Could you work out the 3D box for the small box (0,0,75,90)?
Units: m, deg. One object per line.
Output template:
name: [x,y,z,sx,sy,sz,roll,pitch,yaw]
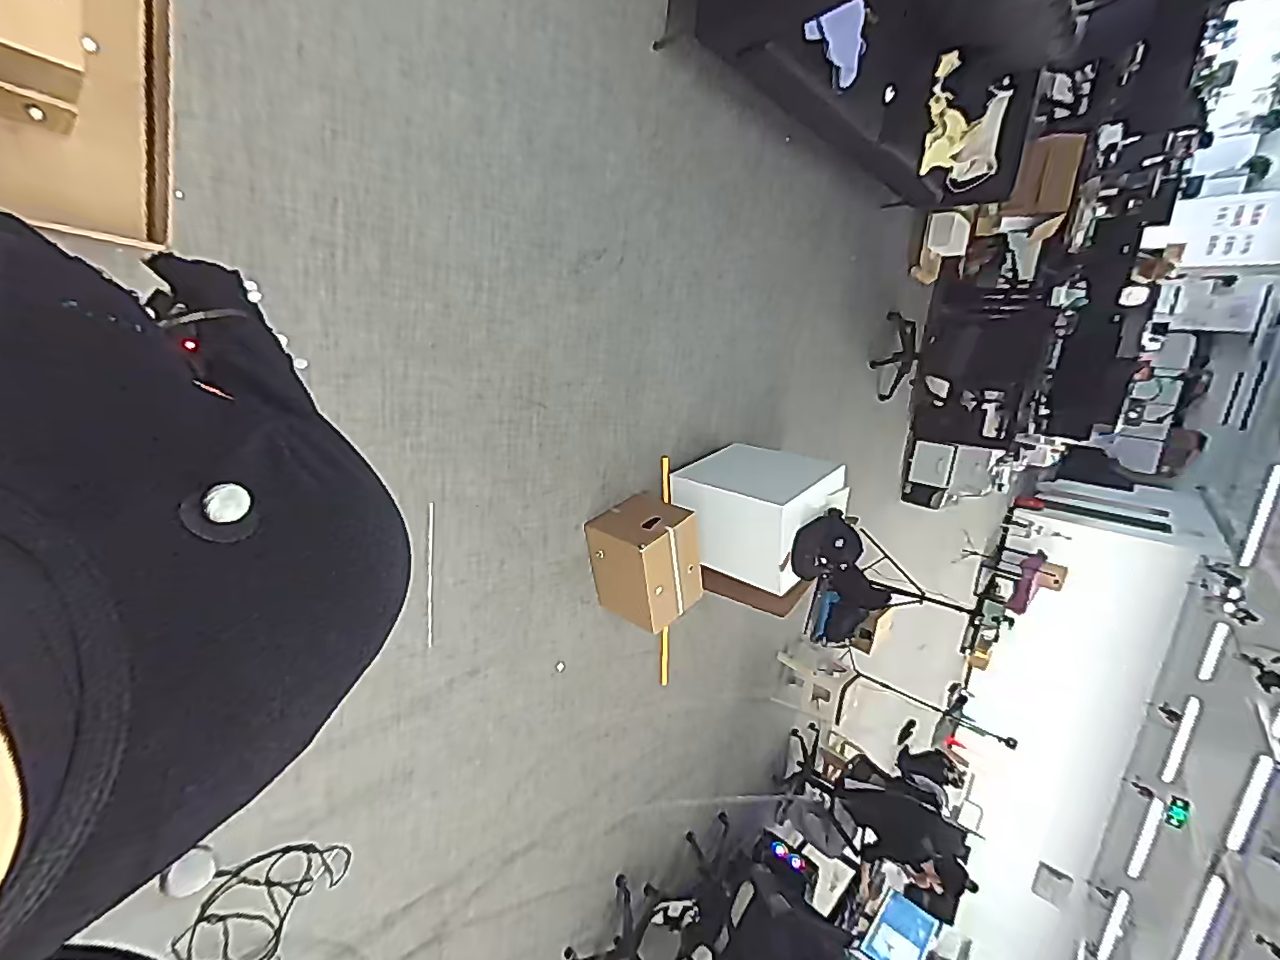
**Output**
small box: [-0.854,-0.640,0.689,0.179,0.176,0.168,-5,105,-49]
